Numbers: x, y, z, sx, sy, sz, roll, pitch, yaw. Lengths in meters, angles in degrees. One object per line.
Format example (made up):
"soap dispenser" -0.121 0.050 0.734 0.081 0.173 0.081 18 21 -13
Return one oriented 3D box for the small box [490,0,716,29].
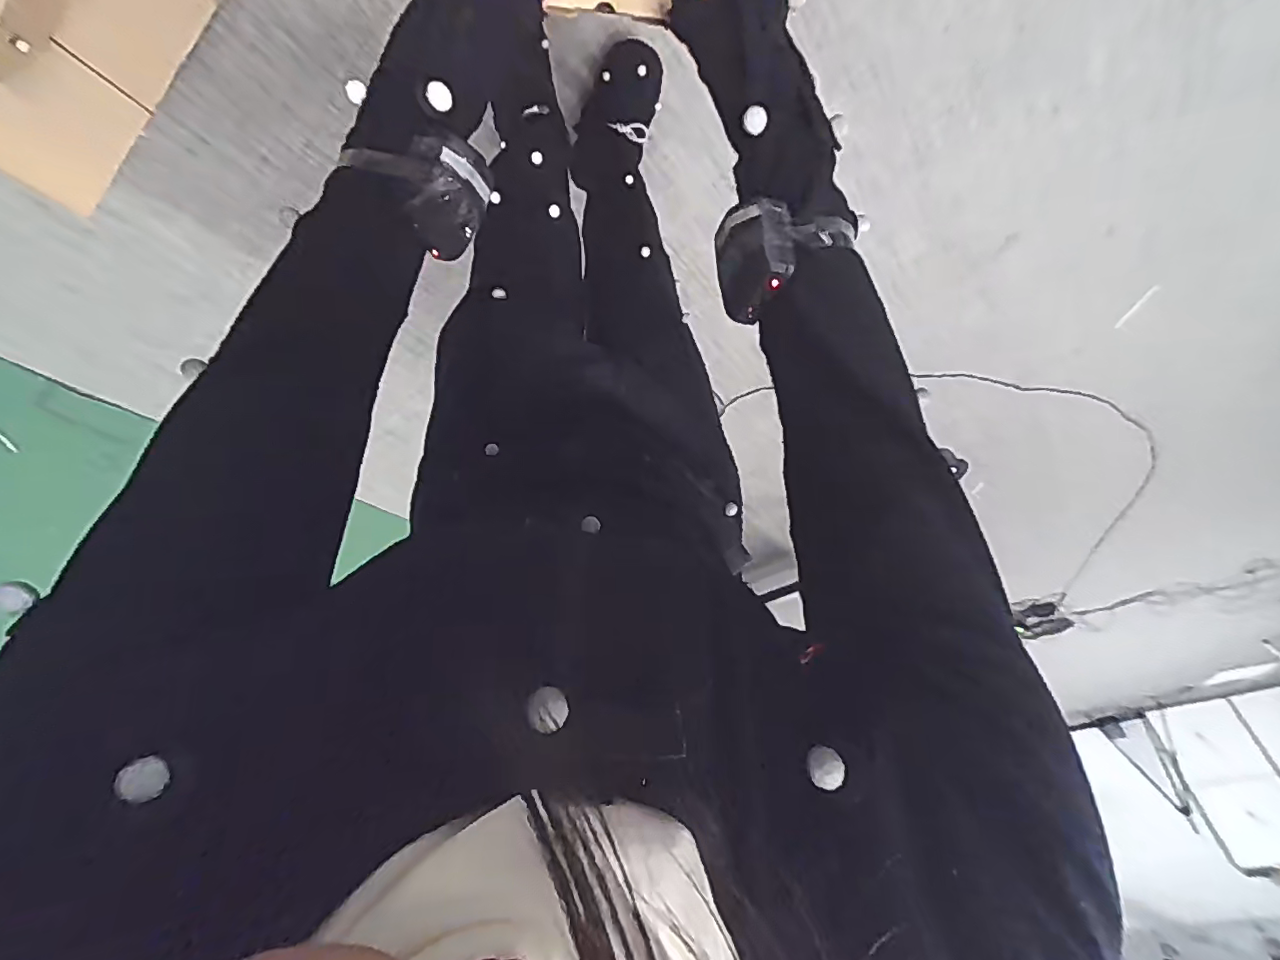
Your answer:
"small box" -0.028 -0.451 0.373 0.168 0.176 0.179 -3 144 -7
